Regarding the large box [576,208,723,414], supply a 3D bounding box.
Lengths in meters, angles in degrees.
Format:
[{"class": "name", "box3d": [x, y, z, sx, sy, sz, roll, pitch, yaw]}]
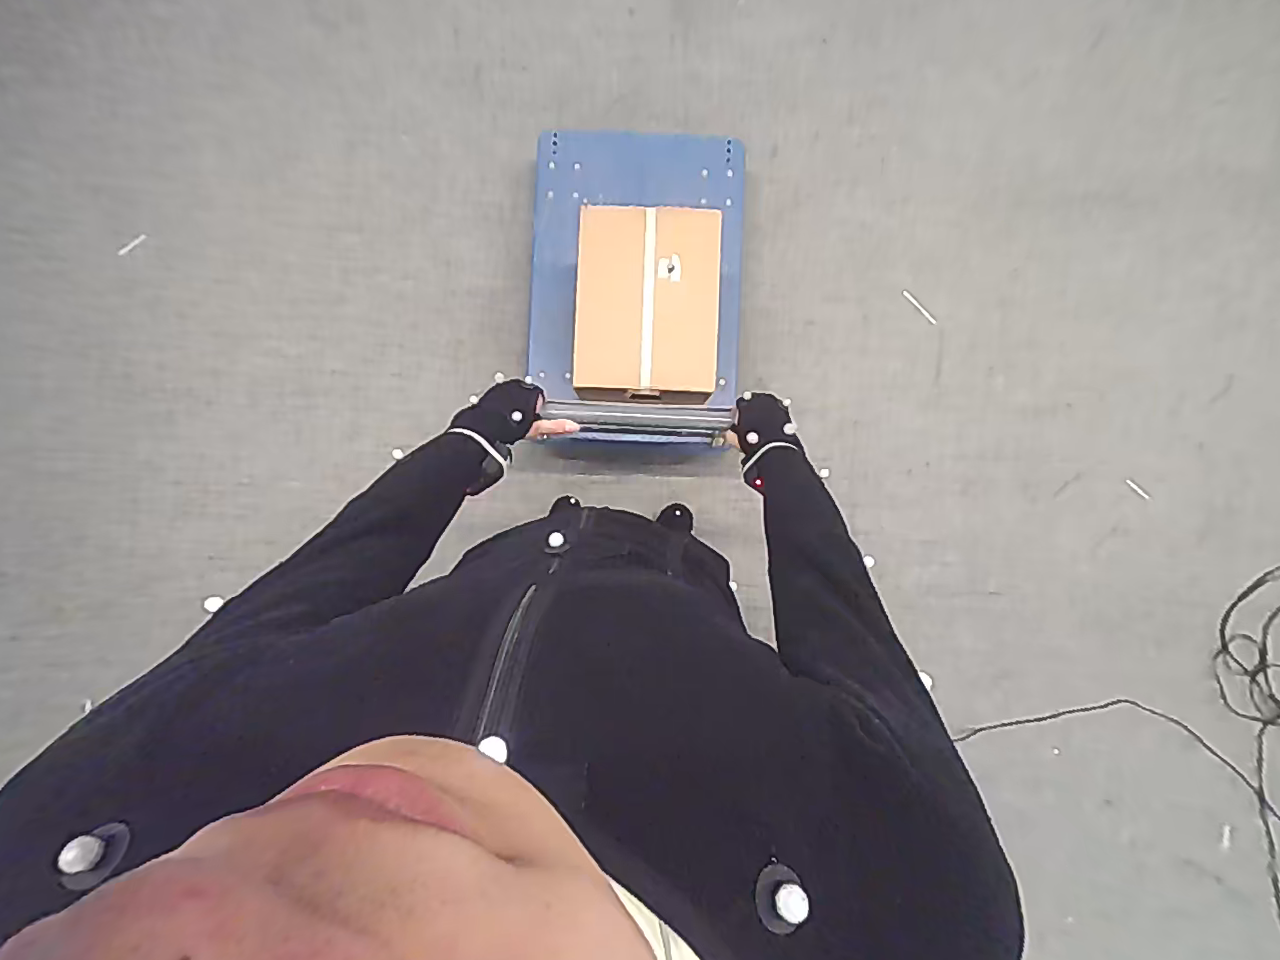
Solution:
[{"class": "large box", "box3d": [0.021, -0.381, 1.313, 0.320, 0.320, 0.408, 2, 88, -1]}]
